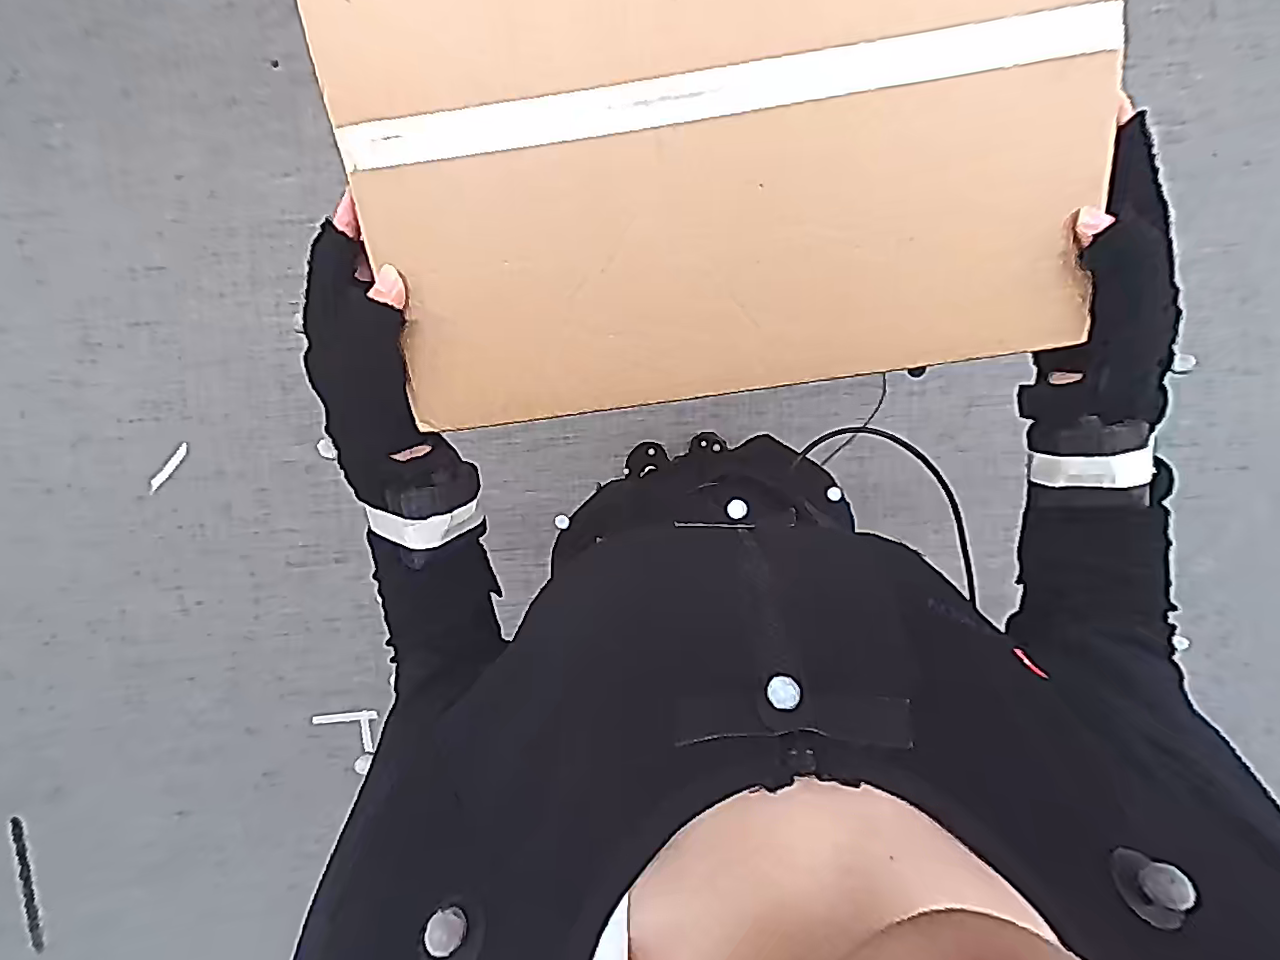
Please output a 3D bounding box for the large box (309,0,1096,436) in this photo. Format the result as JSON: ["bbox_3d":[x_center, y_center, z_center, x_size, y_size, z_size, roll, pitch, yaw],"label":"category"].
[{"bbox_3d":[0.039,-0.248,0.432,0.408,0.320,0.320,-8,108,2],"label":"large box"}]
